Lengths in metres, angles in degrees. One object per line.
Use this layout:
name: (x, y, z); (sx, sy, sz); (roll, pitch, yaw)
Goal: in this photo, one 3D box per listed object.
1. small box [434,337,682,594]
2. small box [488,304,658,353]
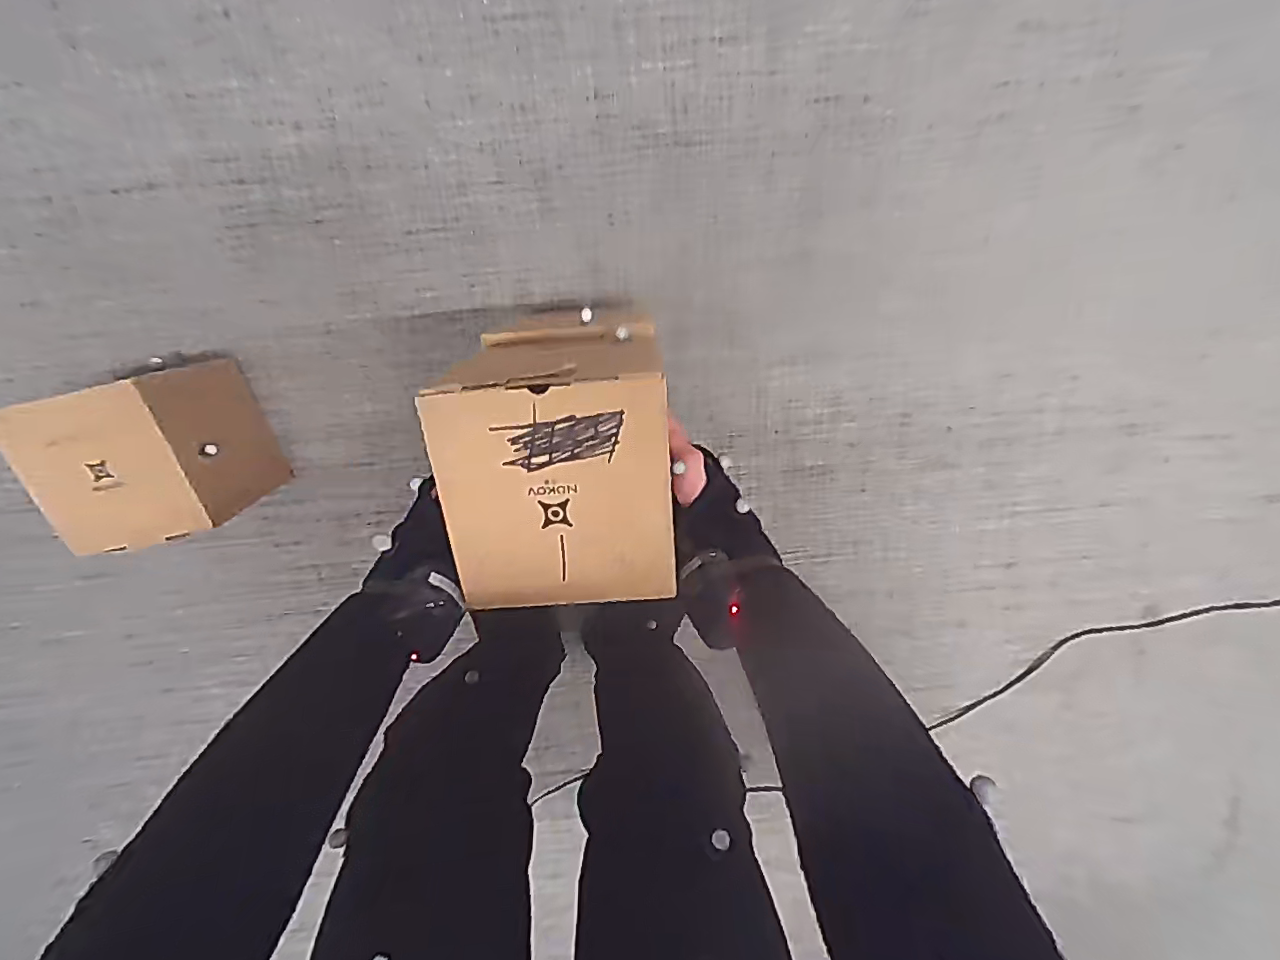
small box: (-0.054, -0.025, 0.470); (0.168, 0.176, 0.179); (-4, 113, 3)
small box: (-0.060, -0.099, 0.620); (0.168, 0.176, 0.179); (-3, 113, 1)
